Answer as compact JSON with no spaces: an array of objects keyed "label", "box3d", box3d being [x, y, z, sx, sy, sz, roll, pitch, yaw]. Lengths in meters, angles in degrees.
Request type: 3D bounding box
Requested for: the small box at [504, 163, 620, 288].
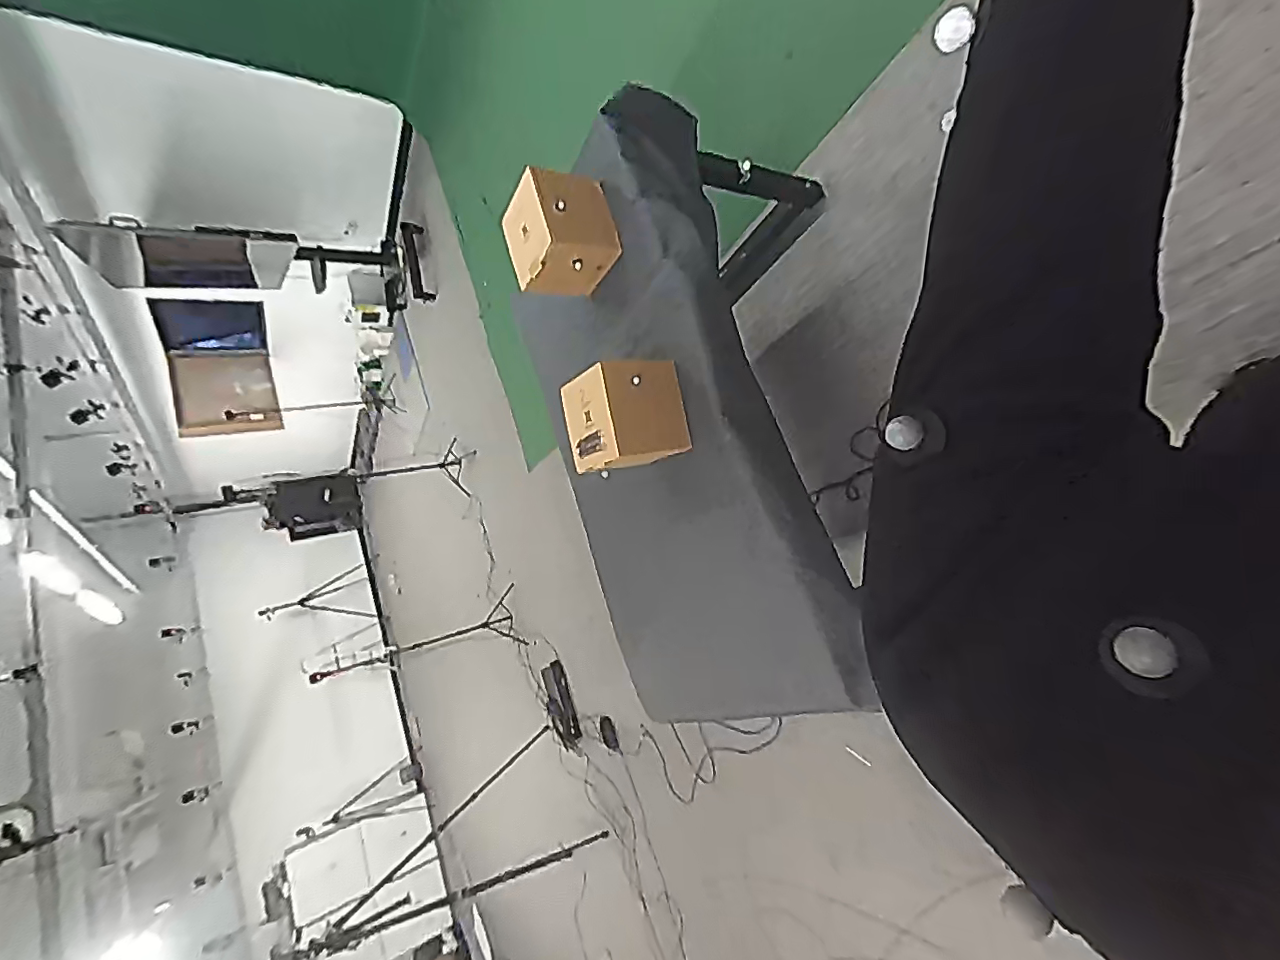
[{"label":"small box","box3d":[-0.163,-0.525,1.140,0.168,0.176,0.179,-29,74,53]}]
